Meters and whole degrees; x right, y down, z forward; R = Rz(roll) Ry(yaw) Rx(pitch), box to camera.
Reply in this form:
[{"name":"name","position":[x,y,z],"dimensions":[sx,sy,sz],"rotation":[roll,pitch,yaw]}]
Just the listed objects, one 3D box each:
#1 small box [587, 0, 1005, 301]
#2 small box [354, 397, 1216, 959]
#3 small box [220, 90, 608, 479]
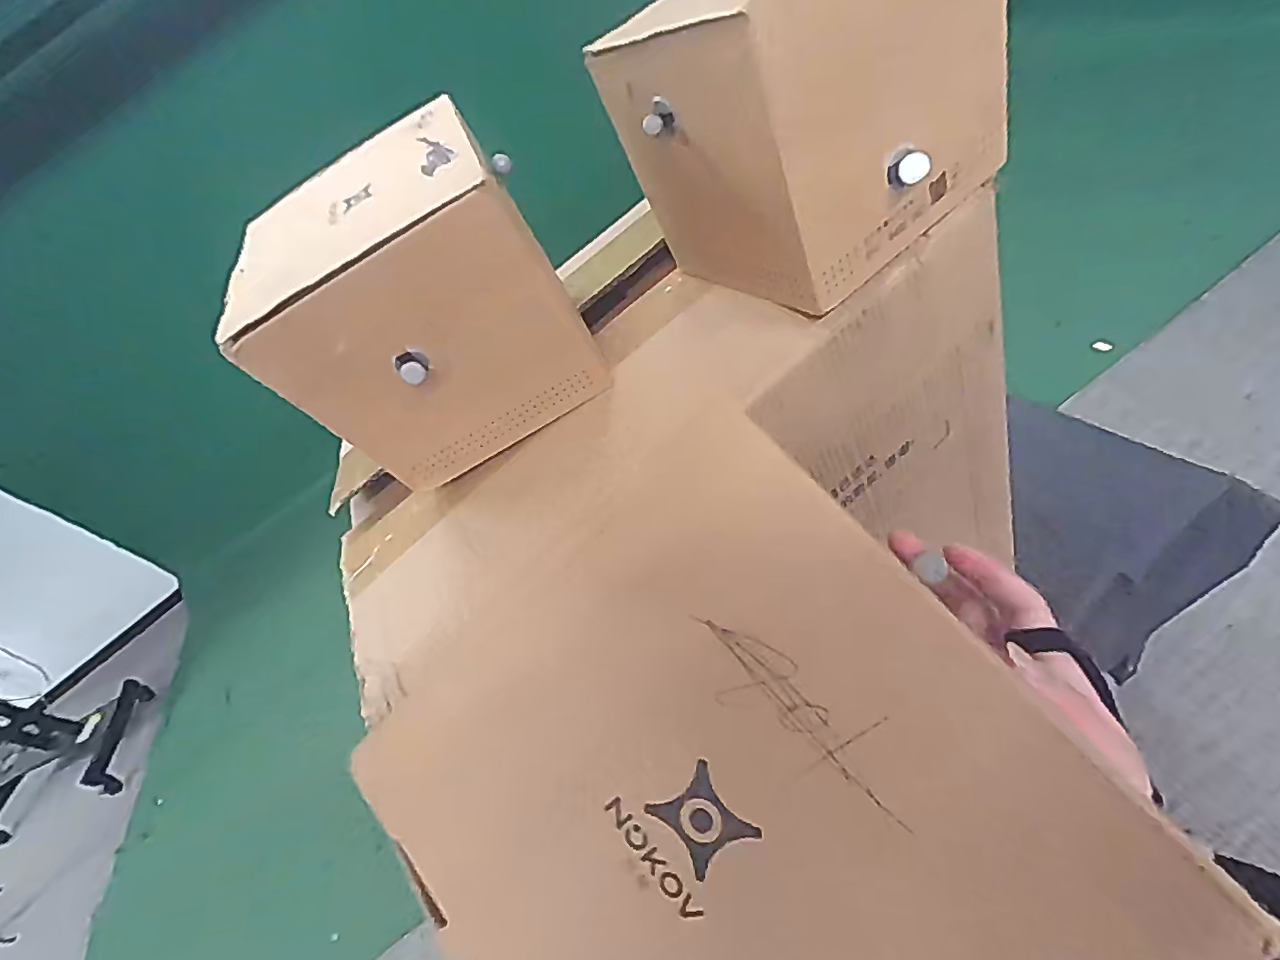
[{"name":"small box","position":[0.099,-0.244,0.353],"dimensions":[0.168,0.176,0.179],"rotation":[-40,42,-4]},{"name":"small box","position":[0.037,0.097,0.224],"dimensions":[0.179,0.176,0.168],"rotation":[-45,75,10]},{"name":"small box","position":[-0.151,-0.130,0.397],"dimensions":[0.179,0.176,0.168],"rotation":[-30,53,6]}]
